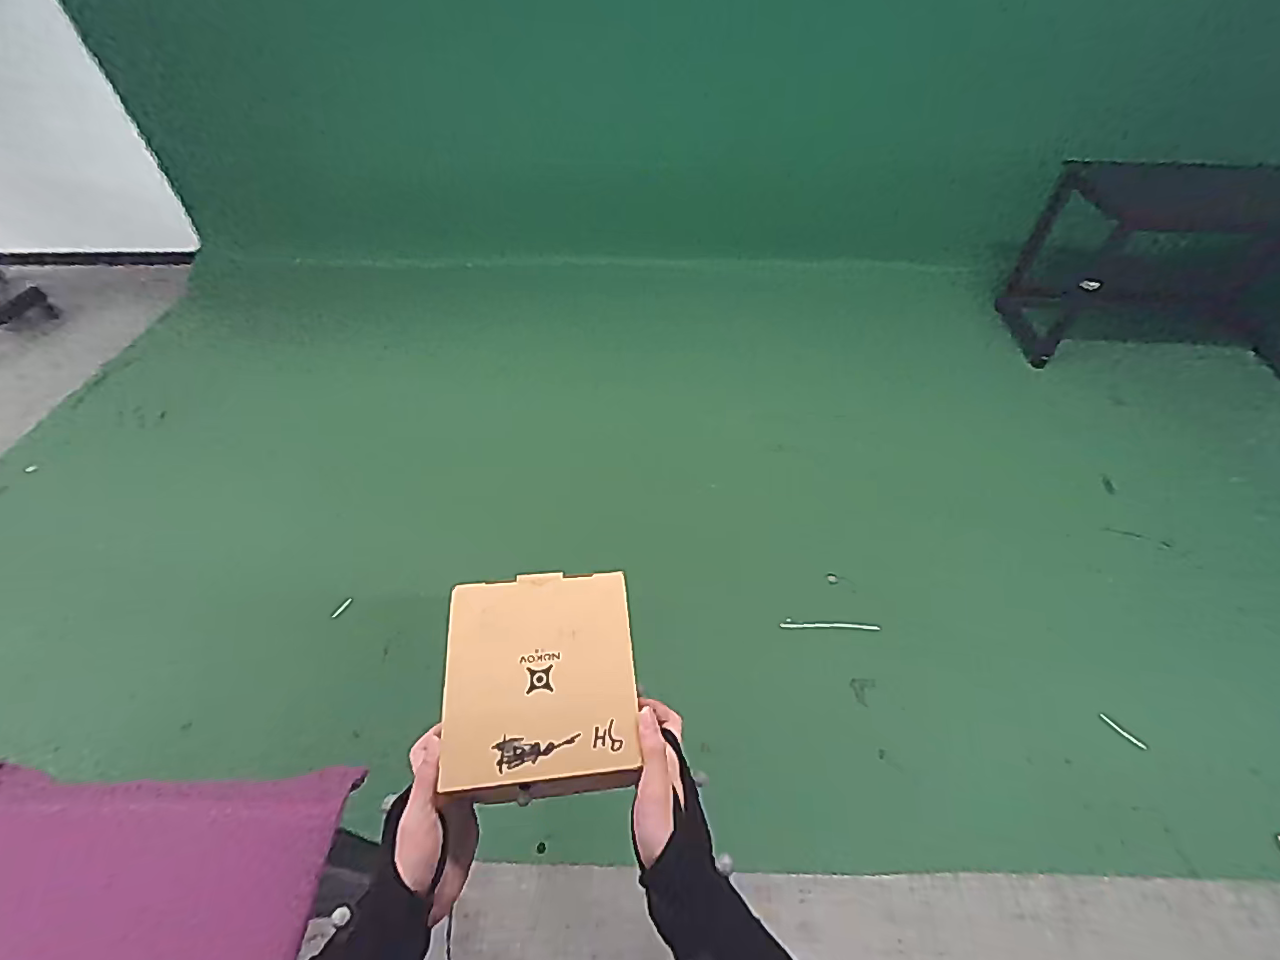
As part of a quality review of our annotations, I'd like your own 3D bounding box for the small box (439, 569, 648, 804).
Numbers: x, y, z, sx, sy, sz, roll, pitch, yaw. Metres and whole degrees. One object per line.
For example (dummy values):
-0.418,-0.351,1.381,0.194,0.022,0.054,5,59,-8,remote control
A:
-0.087,0.206,0.535,0.168,0.176,0.179,-3,56,-5,small box
